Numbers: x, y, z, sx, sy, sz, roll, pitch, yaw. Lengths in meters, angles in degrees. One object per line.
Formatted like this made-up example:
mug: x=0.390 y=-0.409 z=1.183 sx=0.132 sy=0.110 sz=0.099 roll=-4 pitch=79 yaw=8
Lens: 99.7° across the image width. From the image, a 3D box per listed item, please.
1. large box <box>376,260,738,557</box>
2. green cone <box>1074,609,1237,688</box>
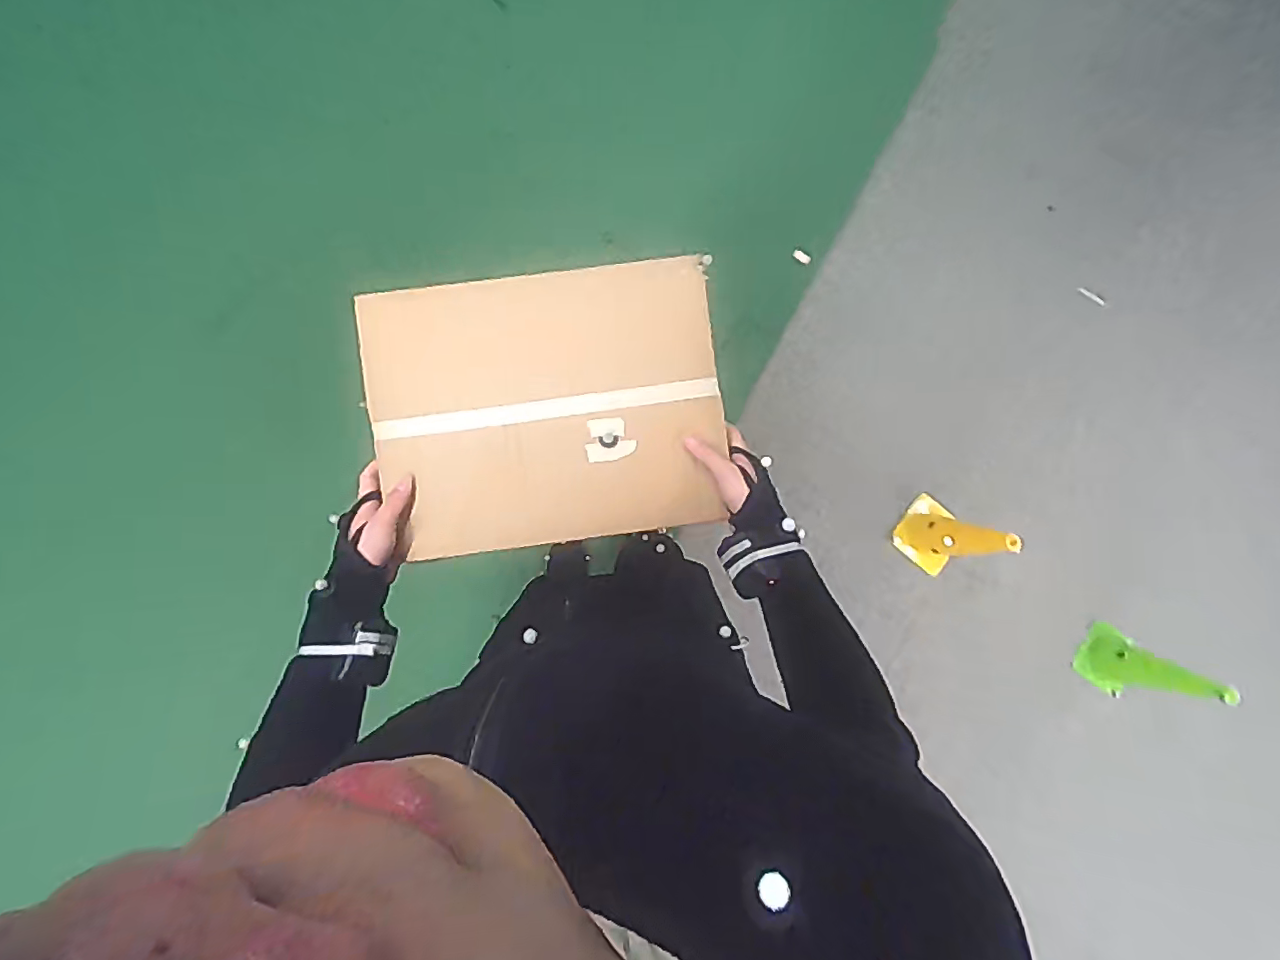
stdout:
large box: x=-0.102 y=-0.086 z=0.790 sx=0.408 sy=0.320 sz=0.320 roll=-7 pitch=91 yaw=-2
green cone: x=1.583 y=0.551 z=1.635 sx=0.202 sy=0.368 sz=0.200 roll=34 pitch=85 yaw=-3
